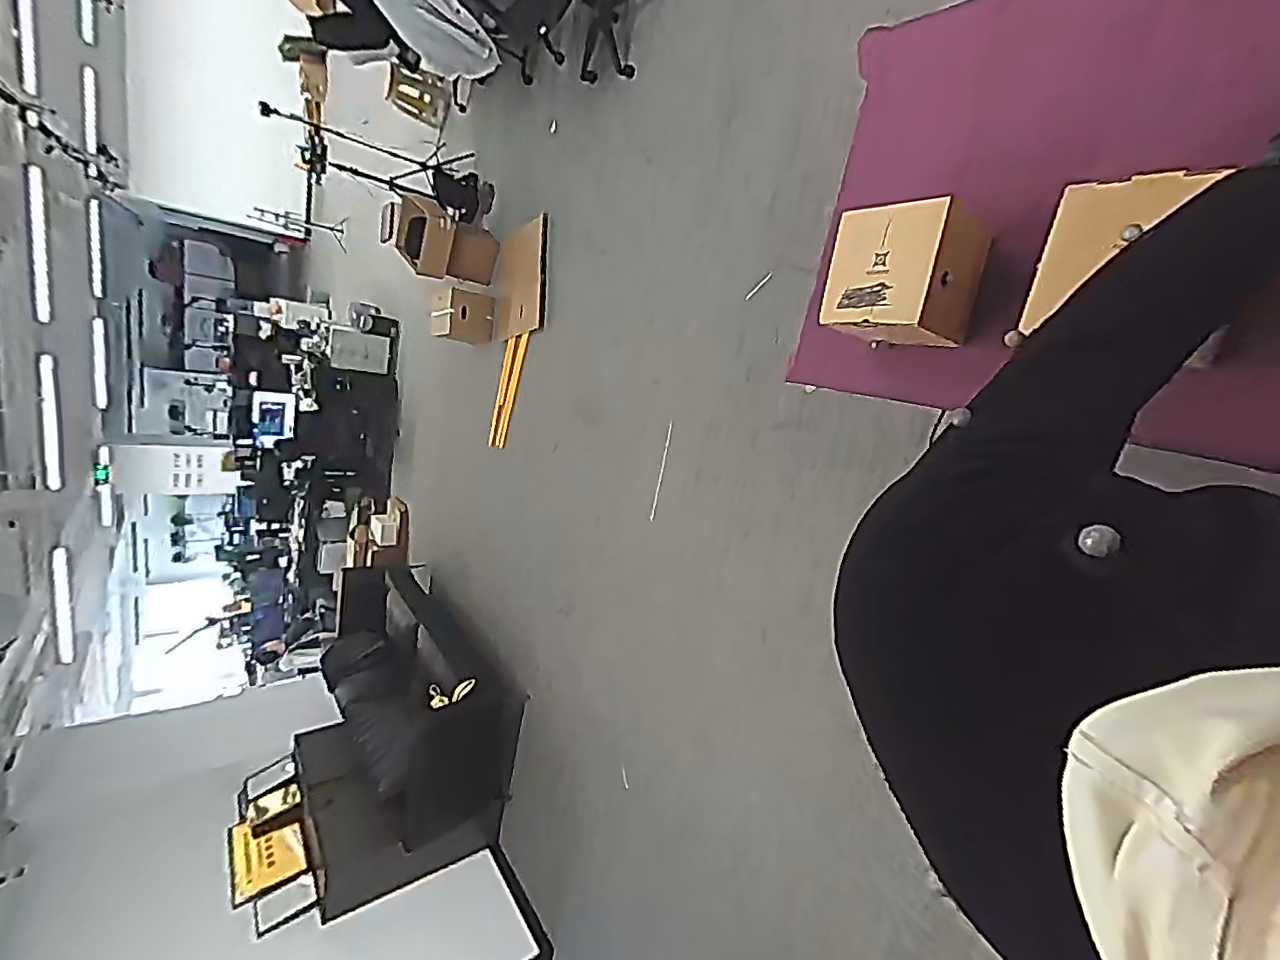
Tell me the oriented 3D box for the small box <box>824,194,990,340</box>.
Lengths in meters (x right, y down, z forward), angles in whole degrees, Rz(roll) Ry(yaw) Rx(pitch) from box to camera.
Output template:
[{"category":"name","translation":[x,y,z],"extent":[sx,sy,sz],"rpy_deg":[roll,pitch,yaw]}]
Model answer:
[{"category":"small box","translation":[0.430,-0.329,0.869],"extent":[0.168,0.176,0.179],"rpy_deg":[22,105,49]}]

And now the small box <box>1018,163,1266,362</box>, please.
[{"category":"small box","translation":[0.605,-0.252,0.656],"extent":[0.168,0.176,0.179],"rpy_deg":[27,111,49]}]
